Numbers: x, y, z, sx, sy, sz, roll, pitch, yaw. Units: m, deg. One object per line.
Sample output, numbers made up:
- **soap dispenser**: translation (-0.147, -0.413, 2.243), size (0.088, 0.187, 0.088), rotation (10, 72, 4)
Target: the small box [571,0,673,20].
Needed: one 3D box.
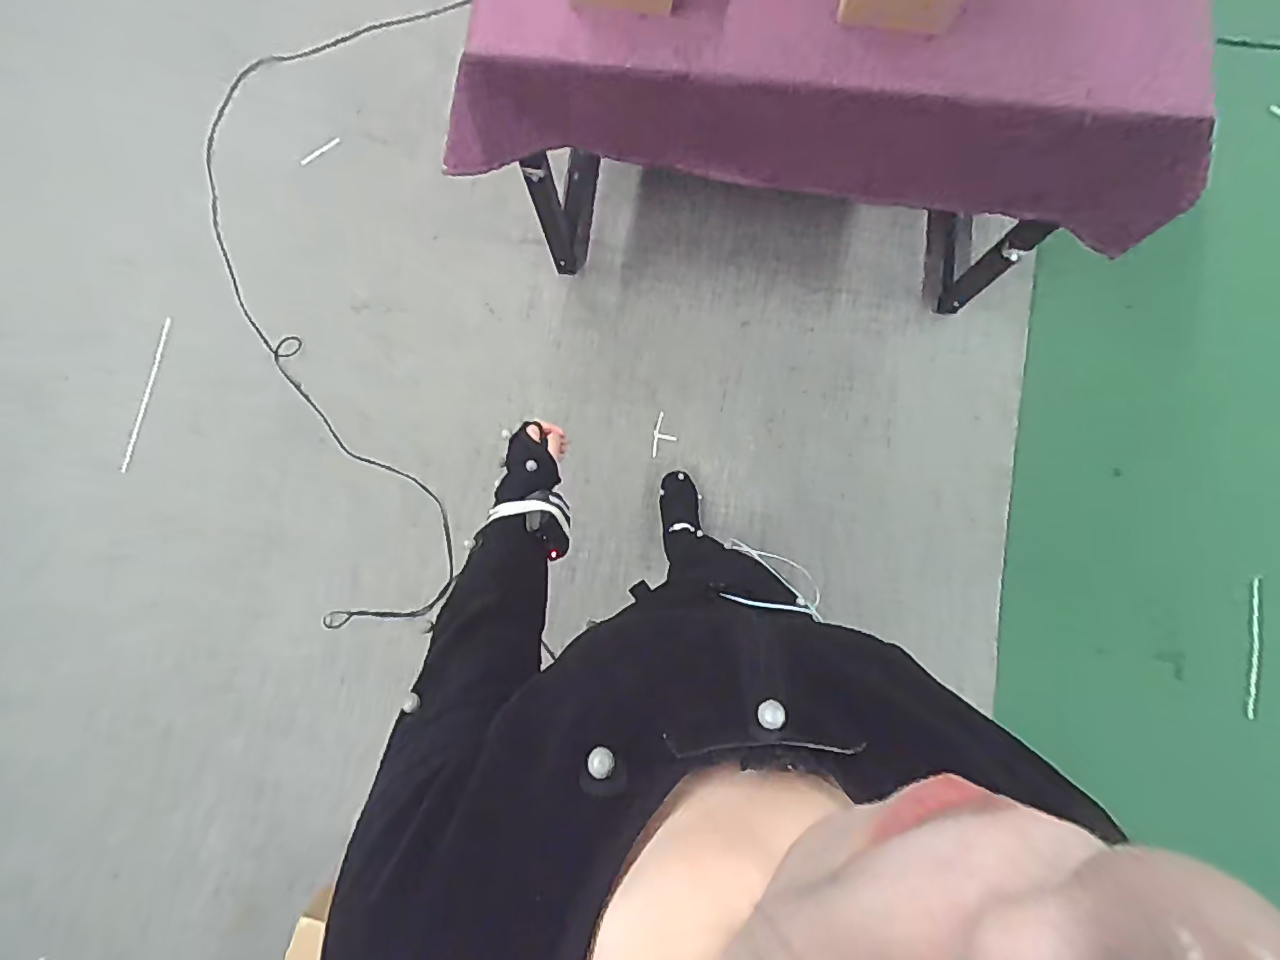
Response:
- **small box**: translation (-0.022, -0.870, 0.842), size (0.179, 0.176, 0.168), rotation (9, 81, 3)
